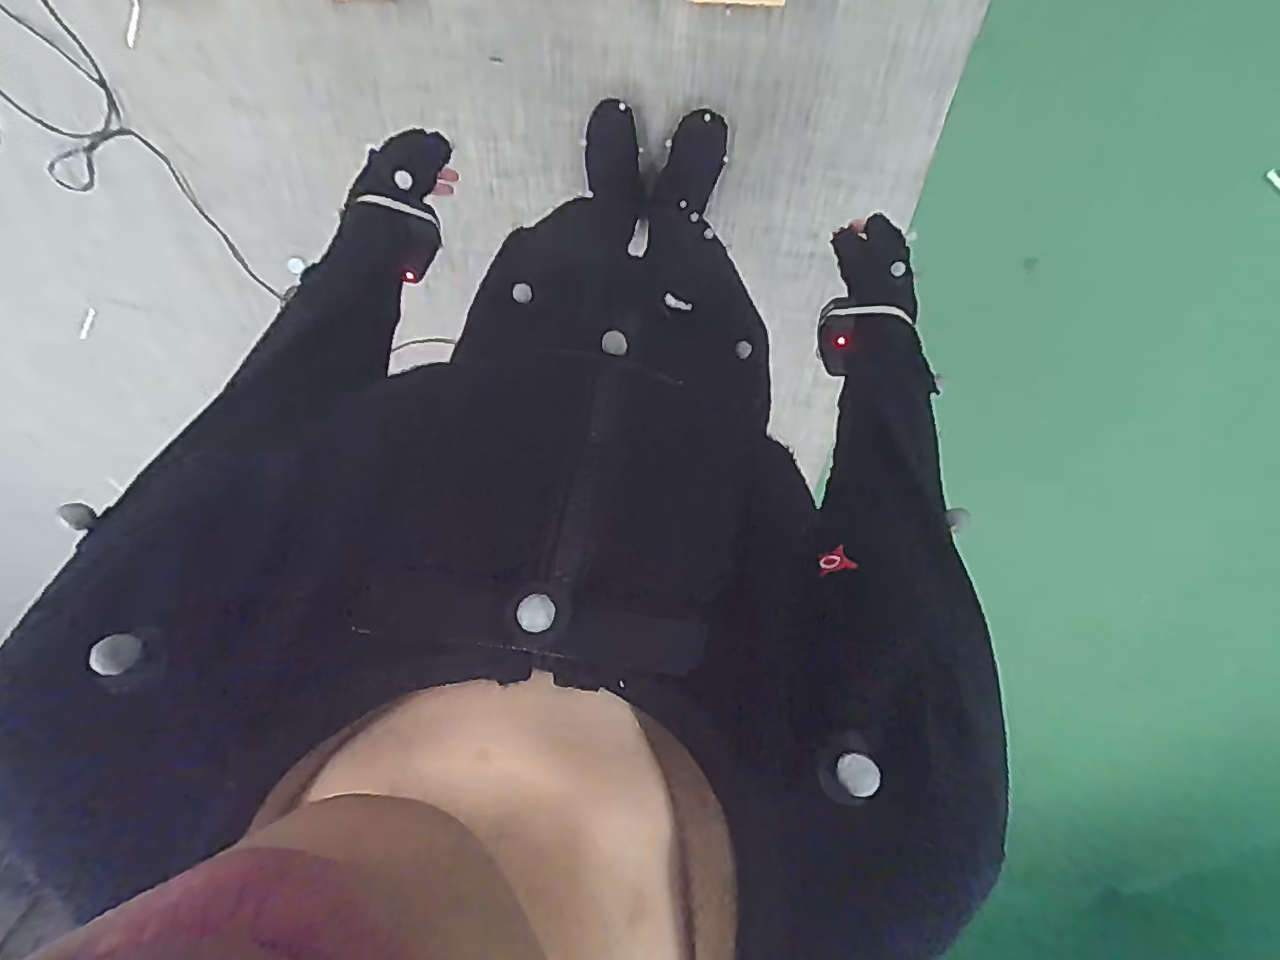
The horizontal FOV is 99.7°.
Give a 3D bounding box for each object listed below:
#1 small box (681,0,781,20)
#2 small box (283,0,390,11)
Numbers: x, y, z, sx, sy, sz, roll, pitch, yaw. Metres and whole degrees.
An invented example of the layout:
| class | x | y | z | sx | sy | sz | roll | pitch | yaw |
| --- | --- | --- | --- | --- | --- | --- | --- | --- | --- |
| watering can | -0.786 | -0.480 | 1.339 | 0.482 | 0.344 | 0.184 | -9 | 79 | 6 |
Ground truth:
| class | x | y | z | sx | sy | sz | roll | pitch | yaw |
| --- | --- | --- | --- | --- | --- | --- | --- | --- | --- |
| small box | 0.159 | -0.884 | 0.895 | 0.168 | 0.176 | 0.179 | 5 | 130 | 2 |
| small box | -0.556 | -0.936 | 0.934 | 0.168 | 0.176 | 0.179 | 9 | 130 | 0 |
